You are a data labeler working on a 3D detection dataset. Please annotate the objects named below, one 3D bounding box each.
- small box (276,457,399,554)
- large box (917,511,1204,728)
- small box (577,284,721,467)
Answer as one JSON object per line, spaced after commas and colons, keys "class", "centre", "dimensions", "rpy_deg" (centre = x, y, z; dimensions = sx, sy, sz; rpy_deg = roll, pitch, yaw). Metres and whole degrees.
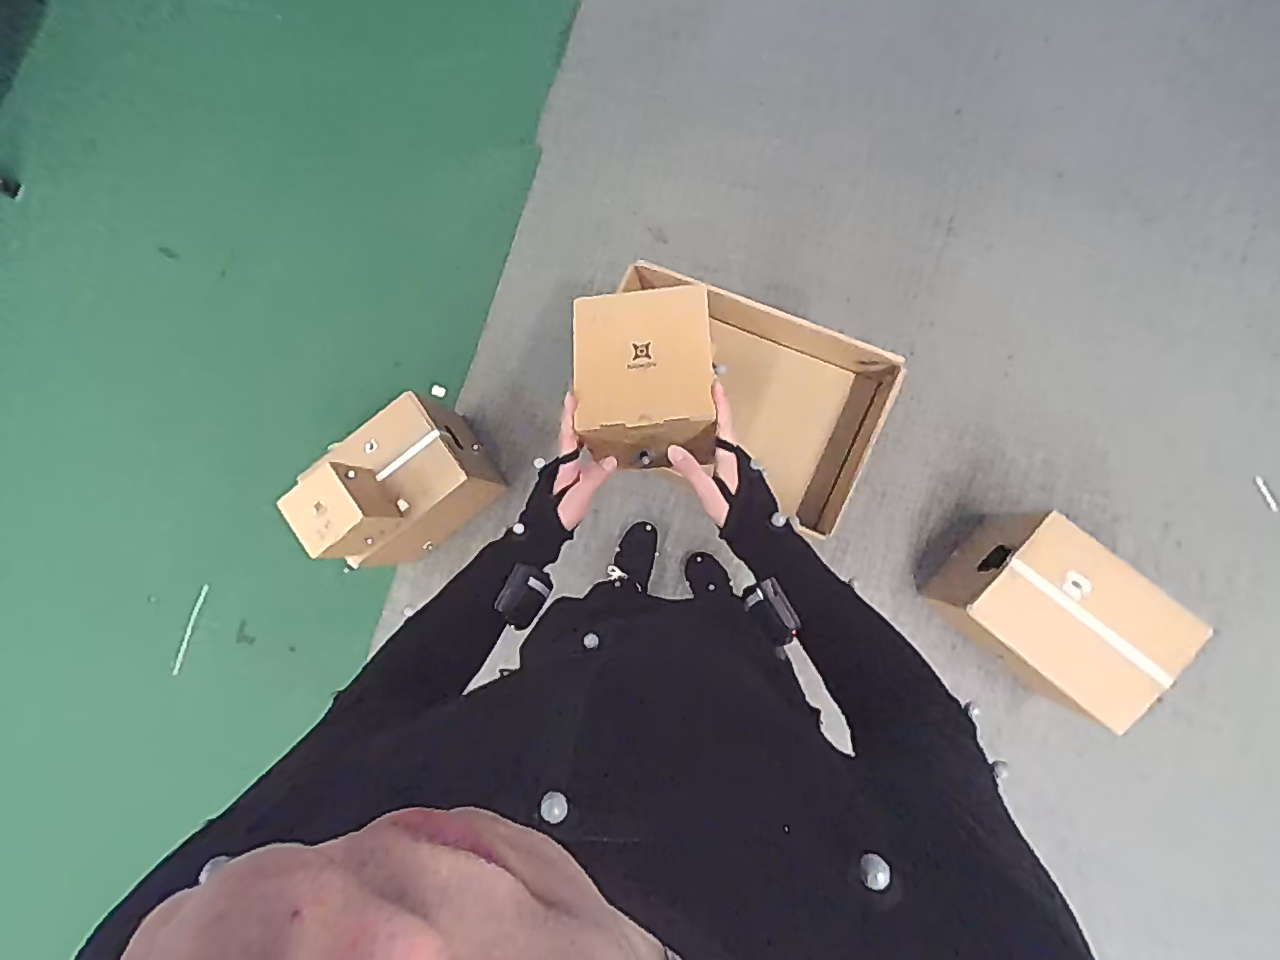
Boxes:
{"class": "small box", "centre": [-0.752, 0.068, 1.360], "dimensions": [0.168, 0.176, 0.179], "rpy_deg": [-38, 82, 2]}
{"class": "large box", "centre": [1.008, 0.323, 1.359], "dimensions": [0.408, 0.320, 0.320], "rpy_deg": [41, 90, 10]}
{"class": "small box", "centre": [0.014, -0.127, 0.709], "dimensions": [0.168, 0.176, 0.179], "rpy_deg": [-5, 75, 5]}
